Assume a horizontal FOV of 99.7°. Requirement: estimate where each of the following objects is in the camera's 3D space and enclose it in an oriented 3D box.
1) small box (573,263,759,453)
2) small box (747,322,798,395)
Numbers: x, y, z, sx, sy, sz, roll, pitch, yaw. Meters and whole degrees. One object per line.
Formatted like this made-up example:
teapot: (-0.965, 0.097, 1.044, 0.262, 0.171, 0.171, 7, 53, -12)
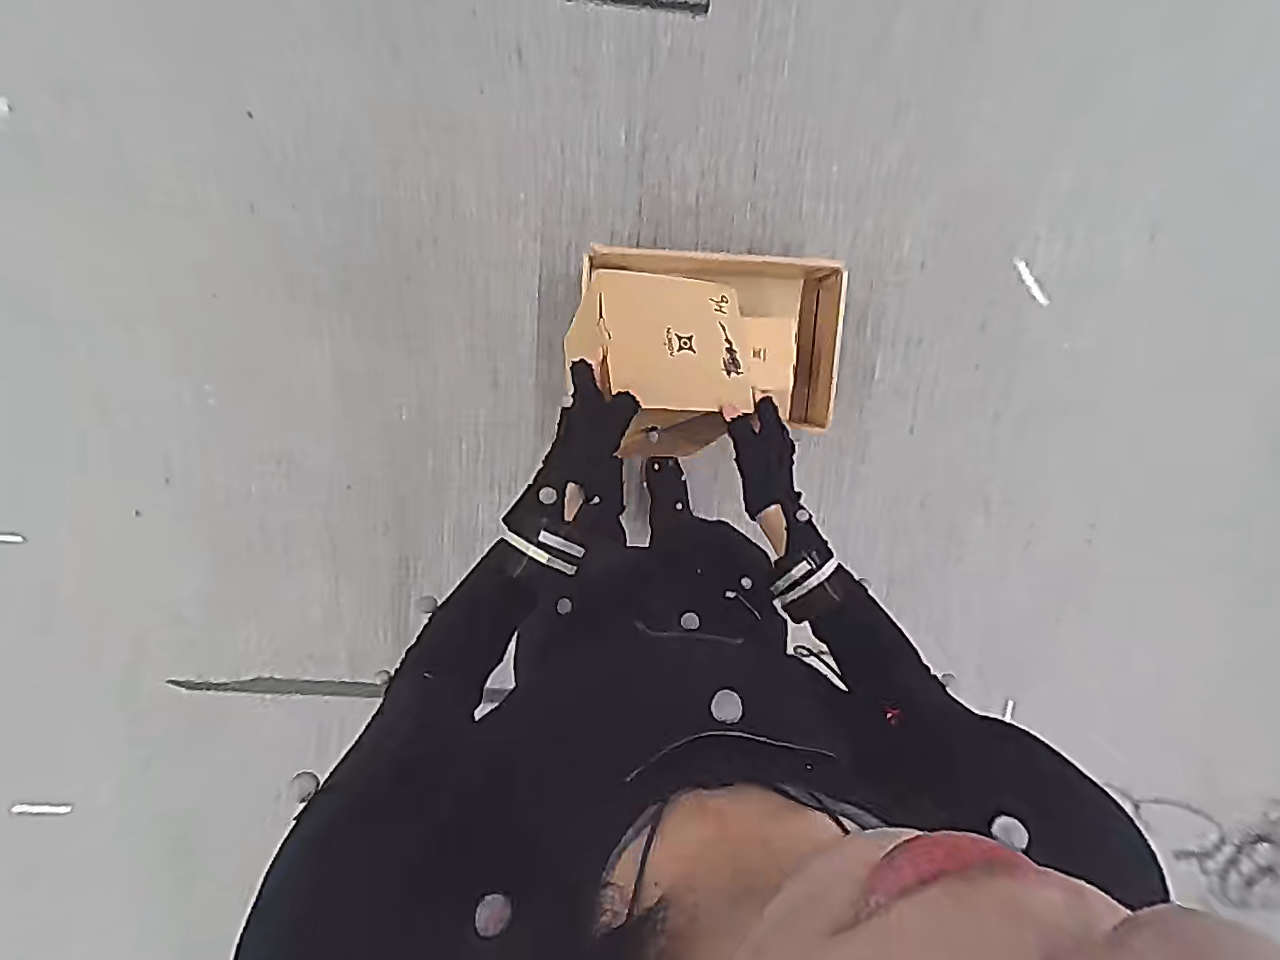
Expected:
small box: (0.018, -0.134, 0.658, 0.179, 0.176, 0.168, 0, 76, -20)
small box: (0.275, -0.296, 1.337, 0.179, 0.176, 0.168, 0, 99, -2)
